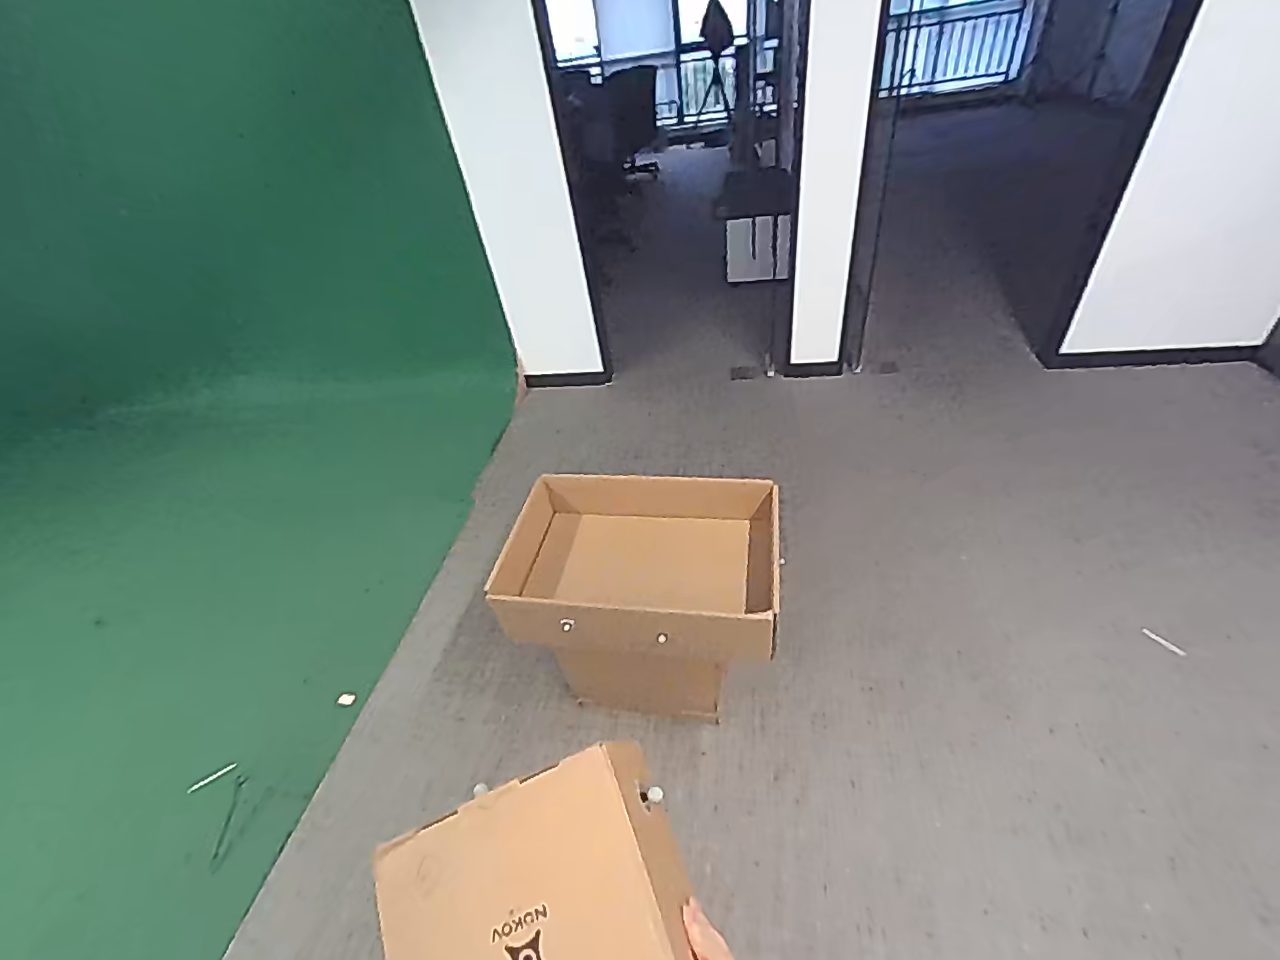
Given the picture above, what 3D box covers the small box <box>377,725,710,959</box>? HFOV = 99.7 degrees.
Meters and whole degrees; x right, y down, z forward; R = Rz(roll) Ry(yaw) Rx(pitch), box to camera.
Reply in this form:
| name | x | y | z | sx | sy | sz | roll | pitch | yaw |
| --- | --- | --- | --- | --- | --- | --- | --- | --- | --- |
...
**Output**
| name | x | y | z | sx | sy | sz | roll | pitch | yaw |
| --- | --- | --- | --- | --- | --- | --- | --- | --- | --- |
| small box | -0.058 | 0.302 | 0.394 | 0.168 | 0.176 | 0.179 | -24 | 63 | -2 |
